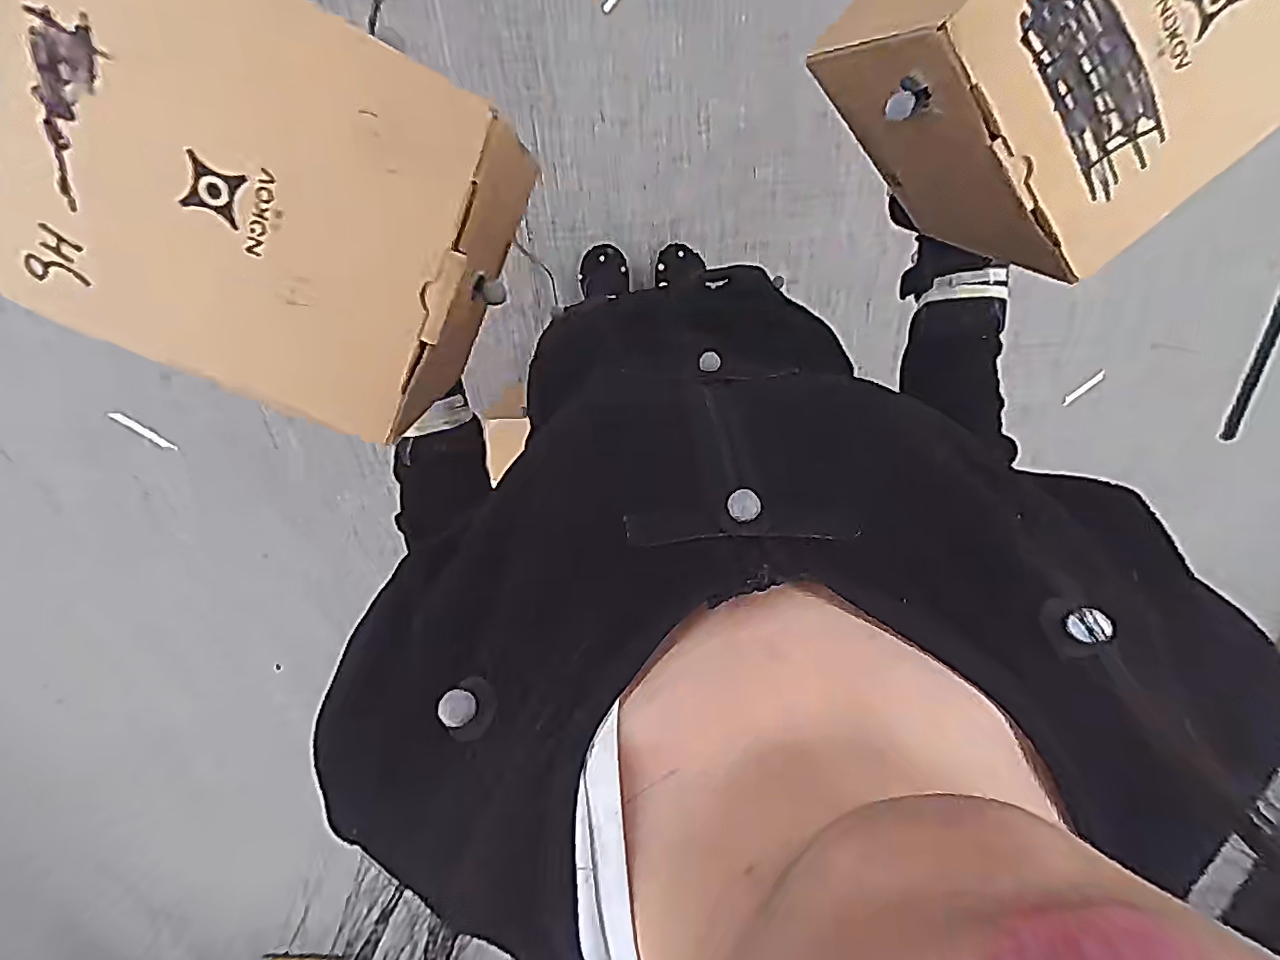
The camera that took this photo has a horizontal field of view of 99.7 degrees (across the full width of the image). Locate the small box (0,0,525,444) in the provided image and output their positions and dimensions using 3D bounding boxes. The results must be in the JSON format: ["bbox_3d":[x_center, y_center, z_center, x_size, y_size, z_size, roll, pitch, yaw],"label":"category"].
[{"bbox_3d":[-0.175,-0.148,0.301,0.179,0.176,0.168,22,110,-15],"label":"small box"}]
